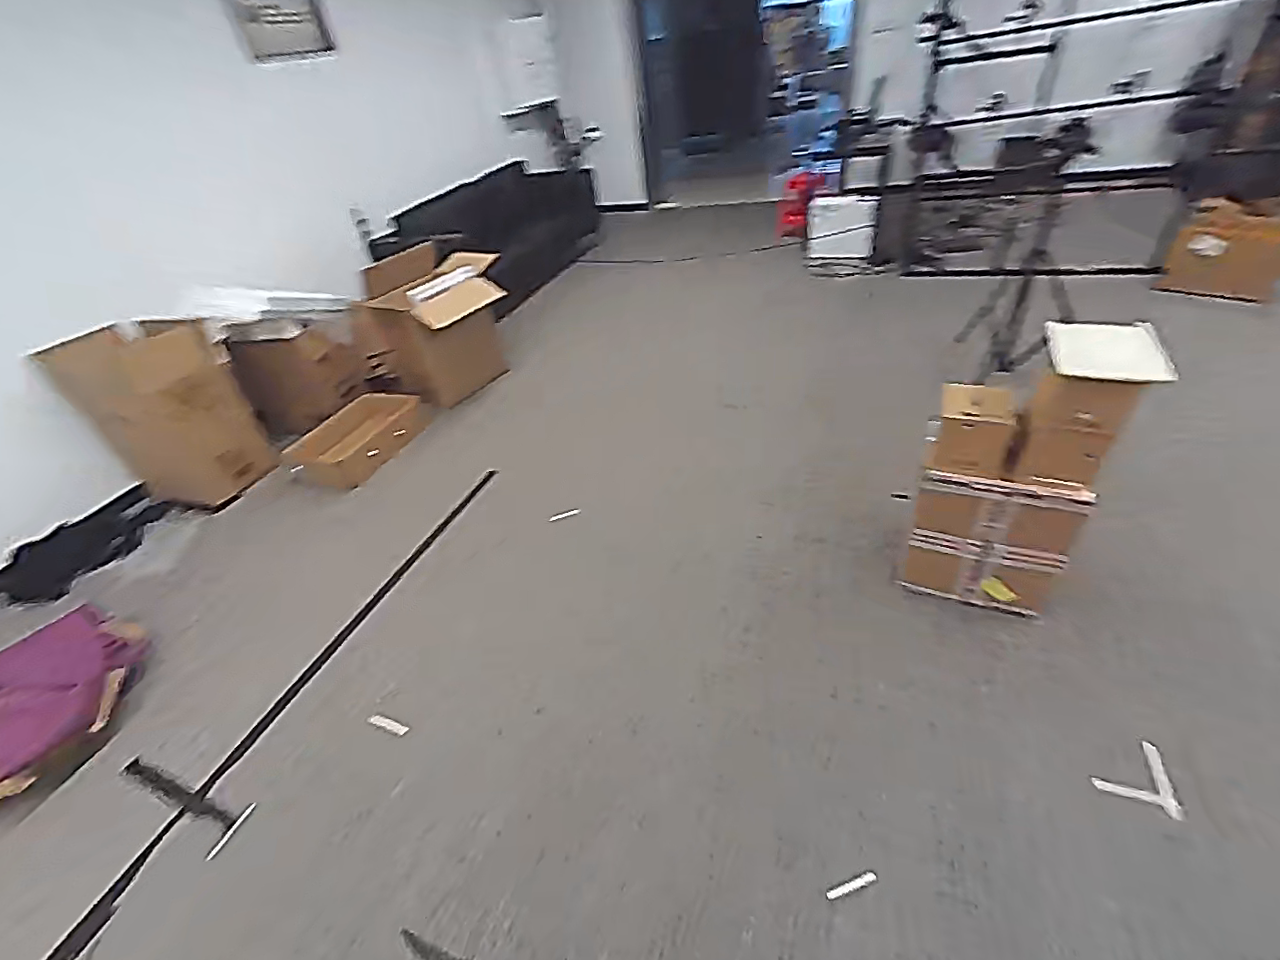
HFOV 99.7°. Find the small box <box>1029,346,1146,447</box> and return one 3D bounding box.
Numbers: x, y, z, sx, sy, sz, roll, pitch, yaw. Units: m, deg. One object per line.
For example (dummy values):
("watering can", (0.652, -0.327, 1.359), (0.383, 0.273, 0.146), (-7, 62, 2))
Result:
("small box", (1.083, -0.208, 1.326), (0.168, 0.176, 0.179), (11, 45, 22))
